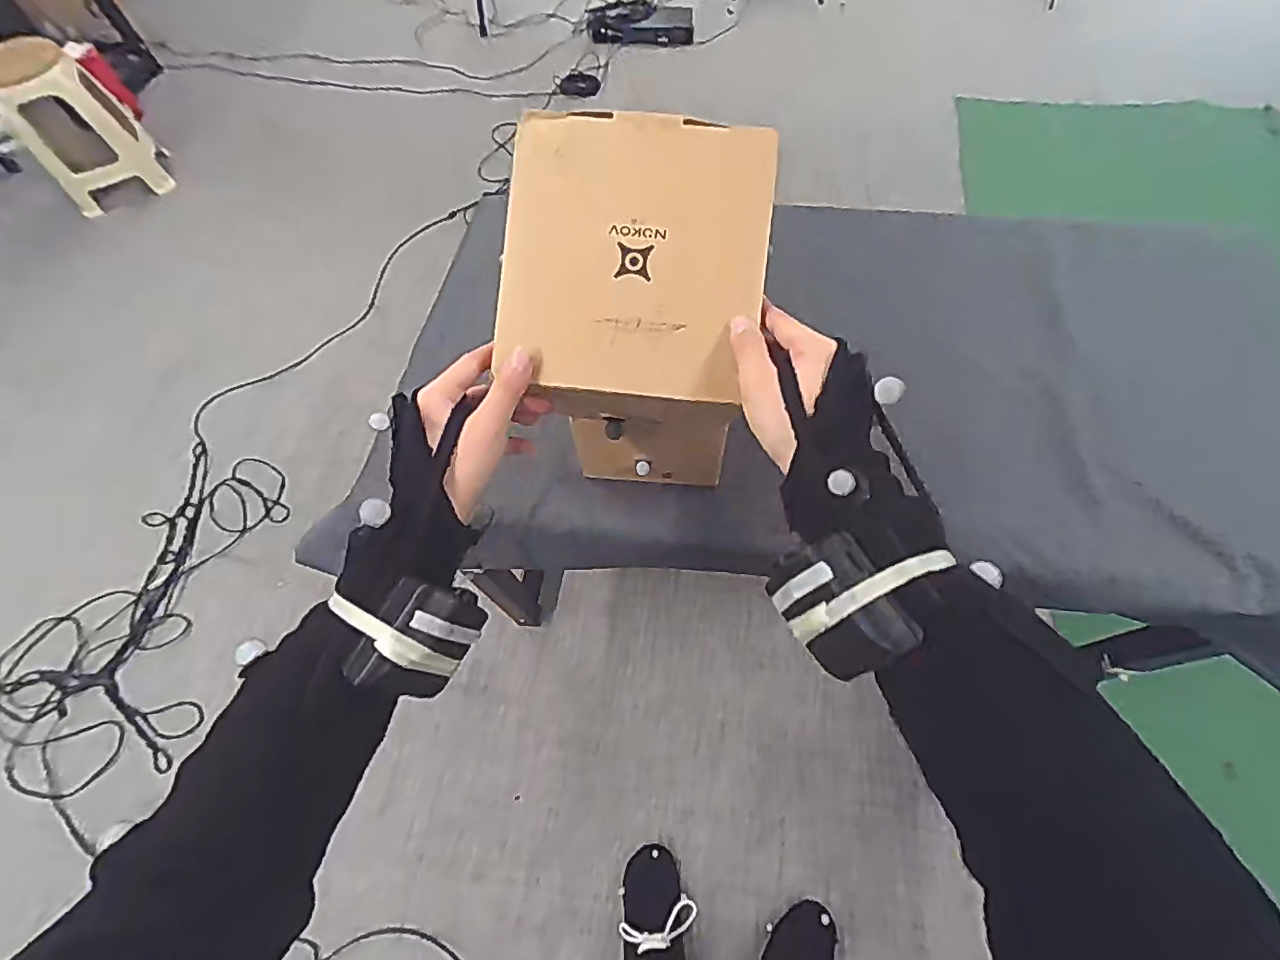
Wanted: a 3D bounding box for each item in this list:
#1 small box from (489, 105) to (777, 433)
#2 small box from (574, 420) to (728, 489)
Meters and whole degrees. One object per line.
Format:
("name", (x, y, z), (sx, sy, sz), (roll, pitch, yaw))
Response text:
("small box", (-0.003, -0.139, 0.414), (0.168, 0.176, 0.179), (6, 89, 2))
("small box", (0.016, -0.109, 0.627), (0.168, 0.176, 0.179), (4, 62, 5))
